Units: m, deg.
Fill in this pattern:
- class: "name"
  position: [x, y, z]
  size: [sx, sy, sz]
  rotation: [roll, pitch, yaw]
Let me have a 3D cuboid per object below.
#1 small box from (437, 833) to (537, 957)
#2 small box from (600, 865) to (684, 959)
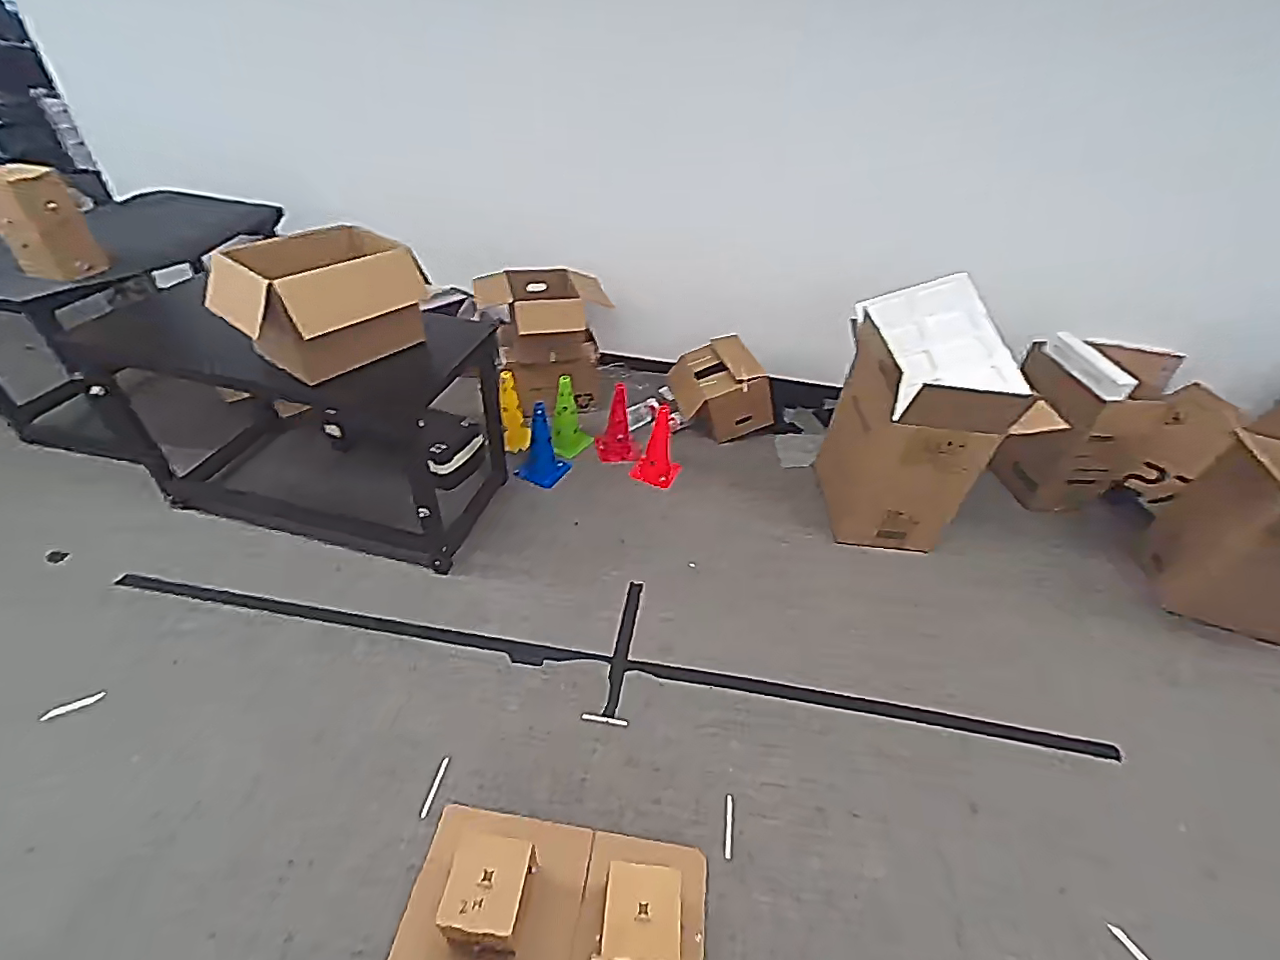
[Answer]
- class: "small box"
  position: [-0.335, 0.939, 1.223]
  size: [0.168, 0.176, 0.179]
  rotation: [8, 41, 3]
- class: "small box"
  position: [0.003, 0.996, 1.206]
  size: [0.168, 0.176, 0.179]
  rotation: [6, 41, 0]
